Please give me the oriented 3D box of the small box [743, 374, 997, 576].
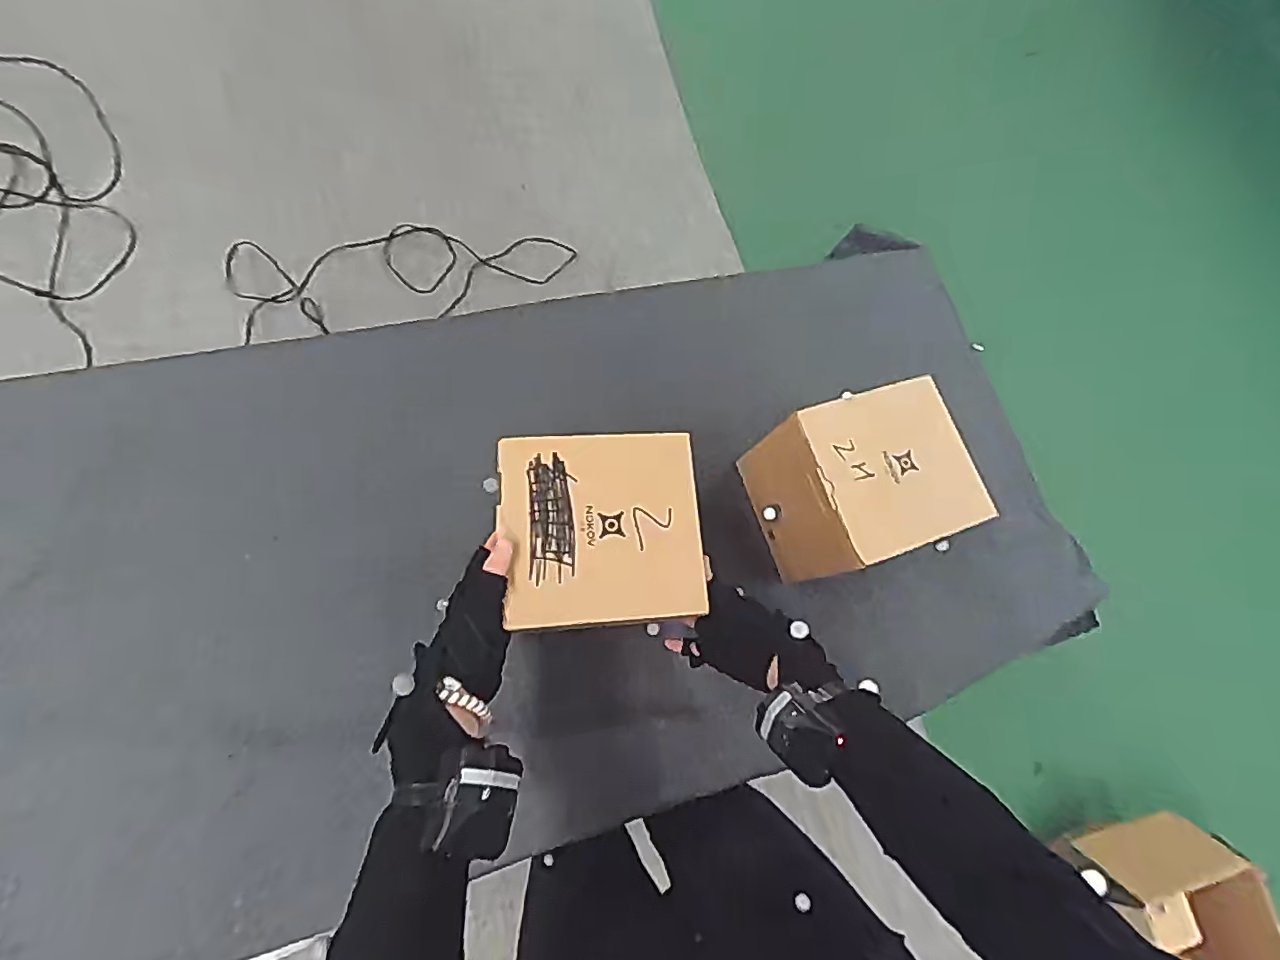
[{"bbox_3d":[0.247,0.002,0.621,0.179,0.176,0.168,-16,78,-15],"label":"small box"}]
